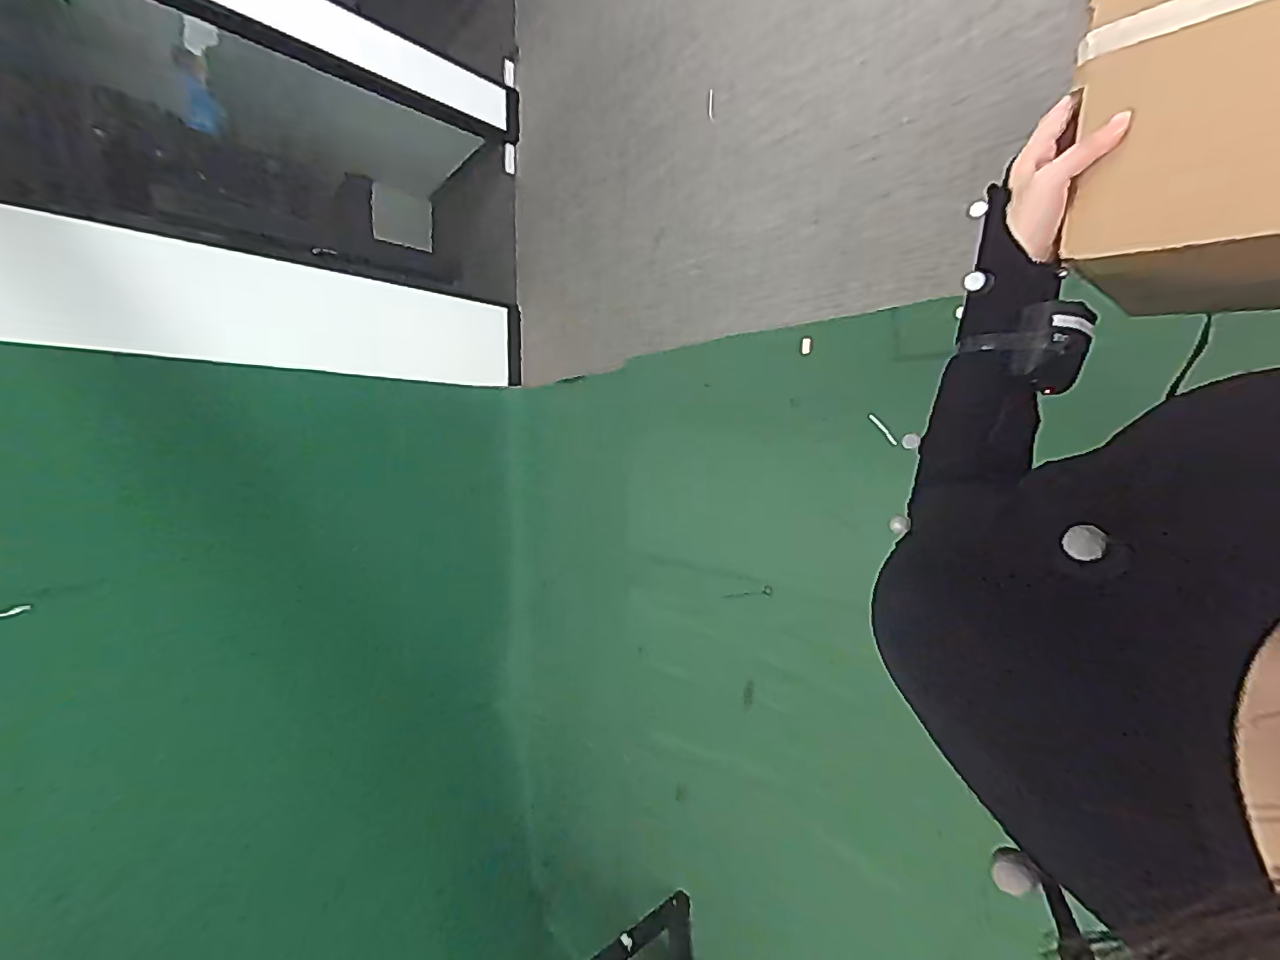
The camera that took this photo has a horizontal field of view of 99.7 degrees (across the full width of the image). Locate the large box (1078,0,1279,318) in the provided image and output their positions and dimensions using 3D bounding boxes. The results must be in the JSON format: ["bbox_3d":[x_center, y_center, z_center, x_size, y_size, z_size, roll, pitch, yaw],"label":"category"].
[{"bbox_3d":[0.592,-0.308,0.363,0.408,0.320,0.320,11,101,47],"label":"large box"}]
